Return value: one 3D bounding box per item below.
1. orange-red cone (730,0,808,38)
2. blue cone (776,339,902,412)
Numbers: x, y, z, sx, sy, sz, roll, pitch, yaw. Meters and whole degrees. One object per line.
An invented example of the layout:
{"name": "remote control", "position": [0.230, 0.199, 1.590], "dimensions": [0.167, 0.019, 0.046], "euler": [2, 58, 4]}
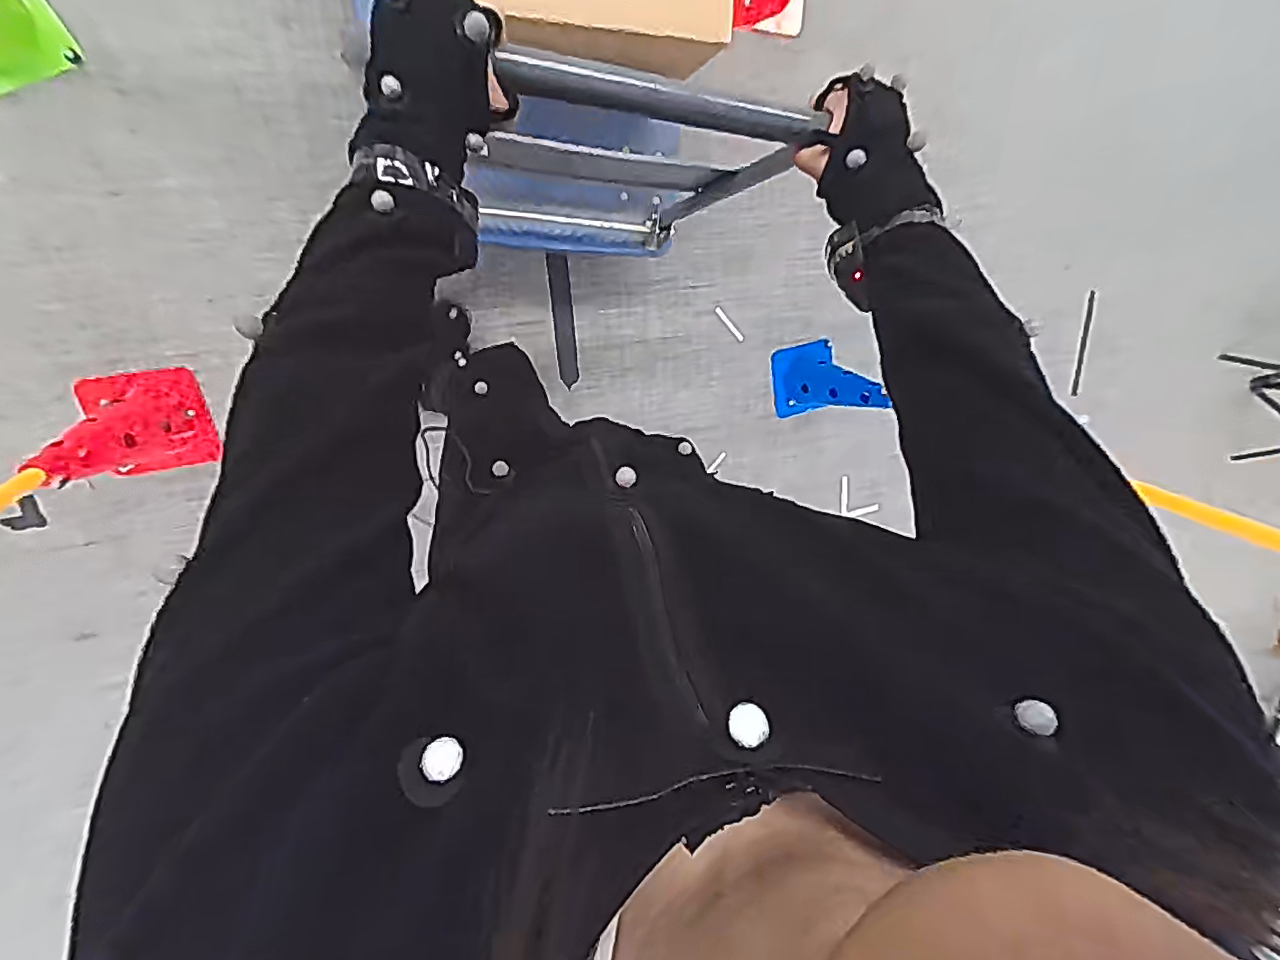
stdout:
{"name": "orange-red cone", "position": [0.354, -1.066, 1.055], "dimensions": [0.199, 0.360, 0.198], "euler": [-5, 110, -20]}
{"name": "blue cone", "position": [0.536, -0.252, 1.422], "dimensions": [0.193, 0.380, 0.192], "euler": [-15, 112, -15]}
